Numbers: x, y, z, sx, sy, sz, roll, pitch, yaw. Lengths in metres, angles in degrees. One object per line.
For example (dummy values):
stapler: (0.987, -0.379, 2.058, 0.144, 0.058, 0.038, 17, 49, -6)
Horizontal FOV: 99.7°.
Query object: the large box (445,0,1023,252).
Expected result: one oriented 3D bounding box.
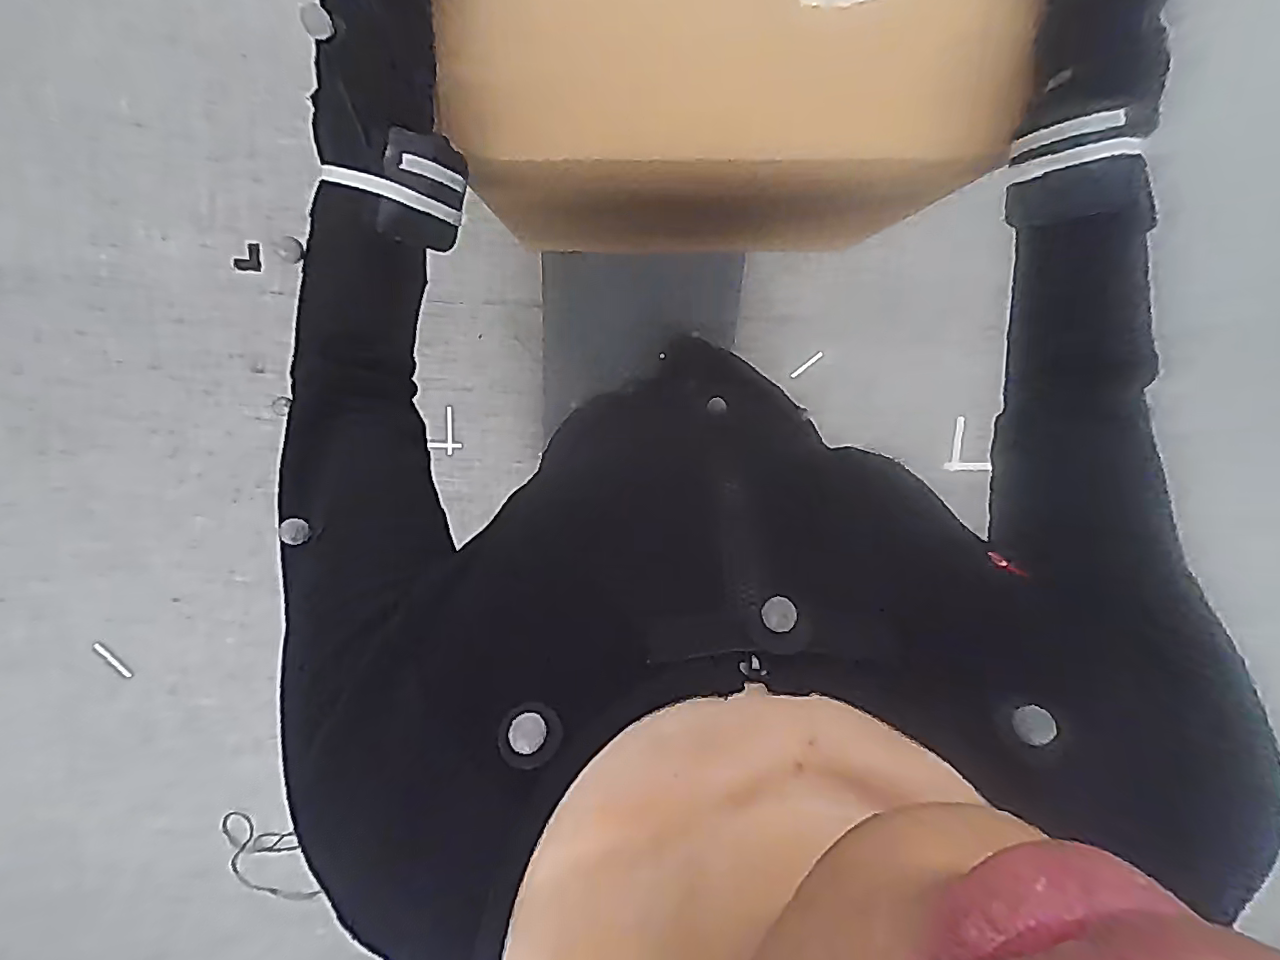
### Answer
large box: (0.060, -0.412, 0.503, 0.408, 0.320, 0.320, -1, 102, -1)
